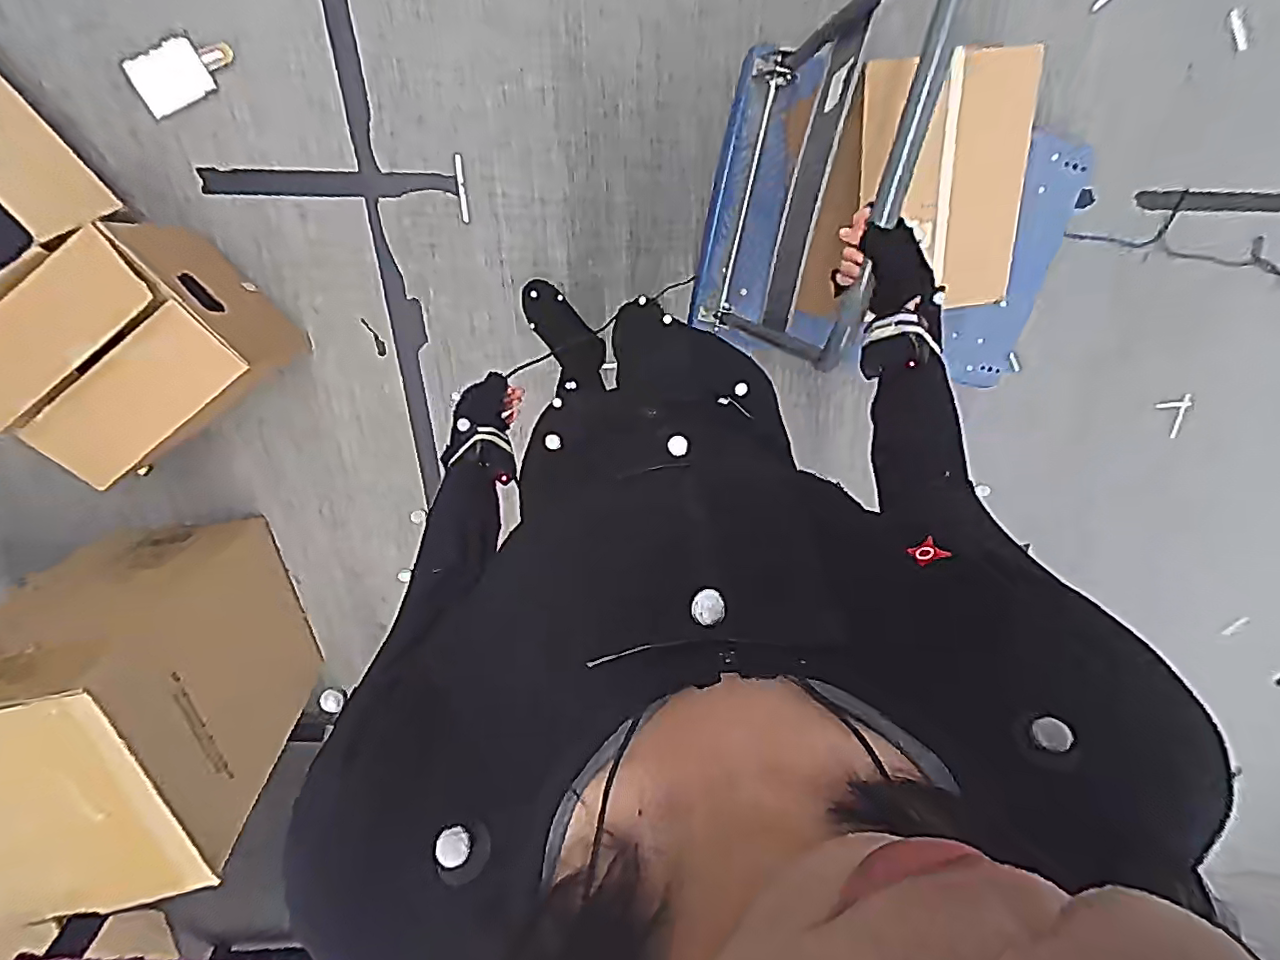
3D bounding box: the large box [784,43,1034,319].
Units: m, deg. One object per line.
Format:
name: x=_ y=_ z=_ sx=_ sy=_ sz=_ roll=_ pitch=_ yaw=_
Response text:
large box: x=0.495 y=-0.564 z=1.077 sx=0.320 sy=0.320 sz=0.408 roll=-10 pitch=114 yaw=-6
